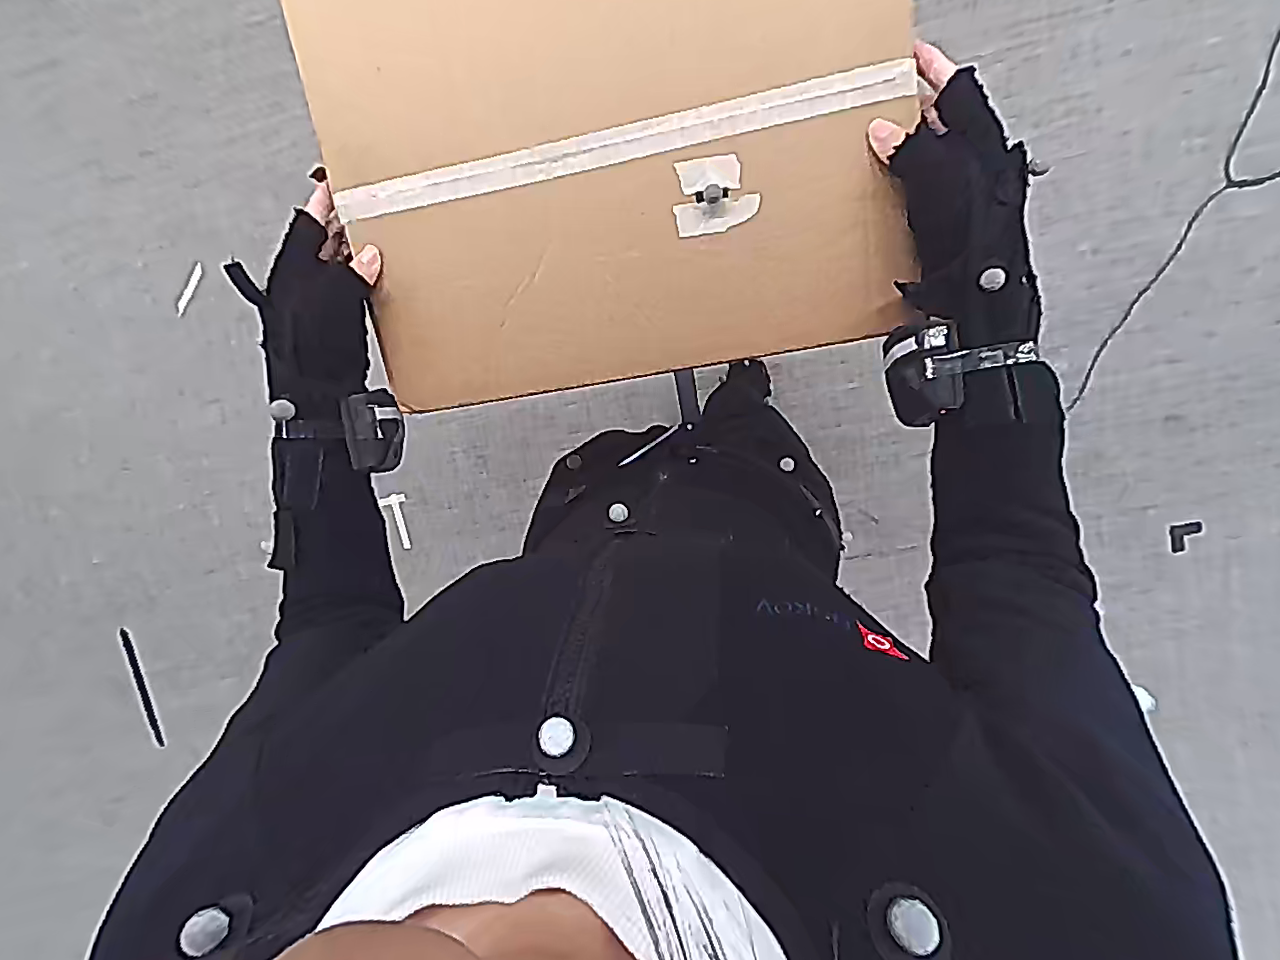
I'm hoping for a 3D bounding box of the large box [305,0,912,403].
[{"bbox_3d":[-0.008,-0.276,0.533,0.408,0.320,0.320,-8,105,7],"label":"large box"}]
